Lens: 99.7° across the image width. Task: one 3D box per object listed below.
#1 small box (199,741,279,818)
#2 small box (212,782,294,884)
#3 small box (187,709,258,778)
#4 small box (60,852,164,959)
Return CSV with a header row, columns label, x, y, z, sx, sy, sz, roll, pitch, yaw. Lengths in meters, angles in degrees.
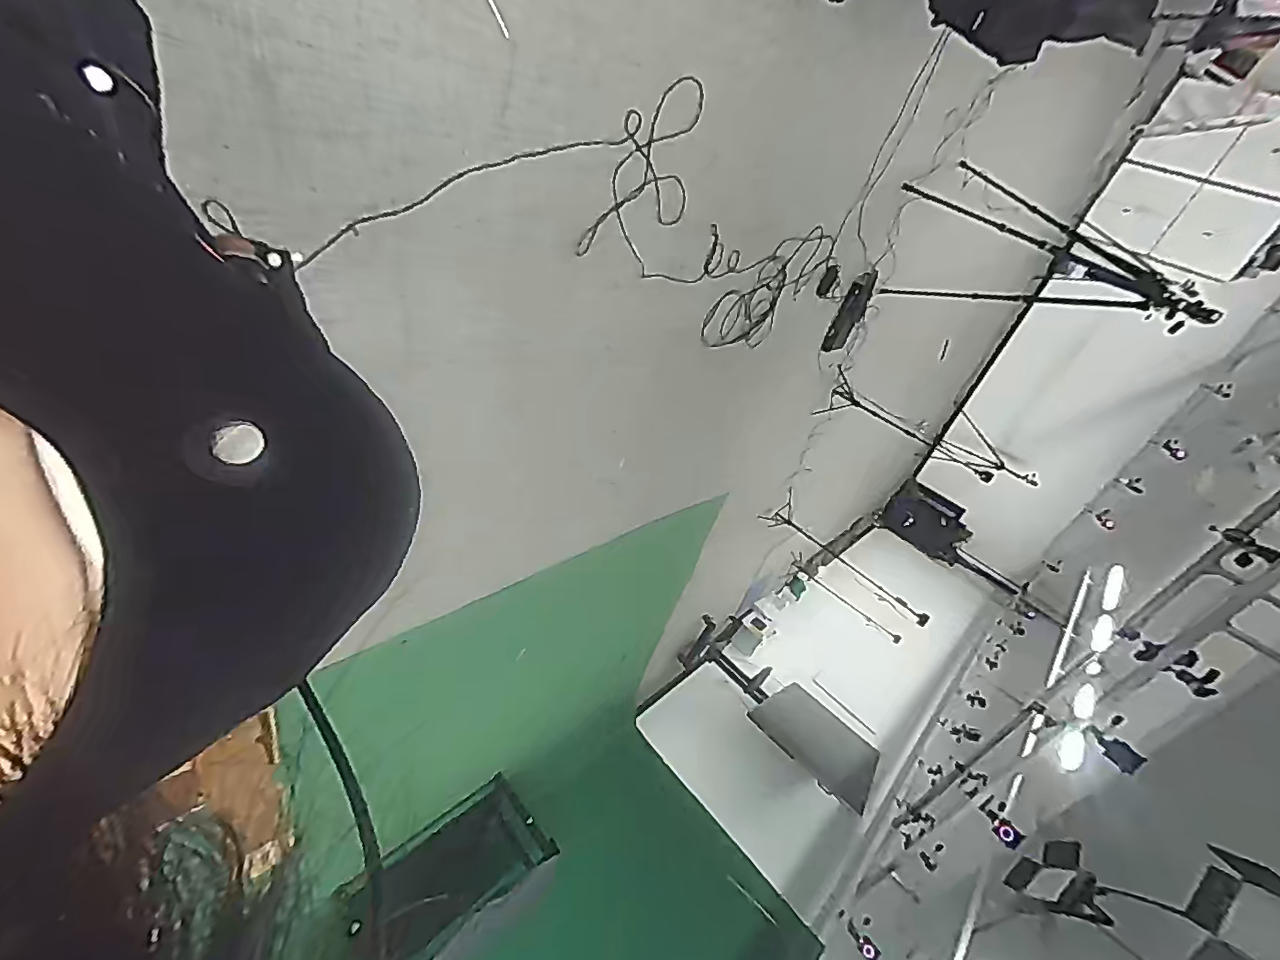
label,x,y,z,sx,sy,sz,roll,pitch,yaw
small box,-1.317,1.006,1.782,0.179,0.176,0.168,-16,135,-44
small box,-1.213,1.098,1.692,0.179,0.176,0.168,-17,137,-44
small box,-1.433,0.924,1.865,0.168,0.176,0.179,-17,136,-43
small box,-1.431,1.161,1.467,0.168,0.176,0.179,-16,133,-47
